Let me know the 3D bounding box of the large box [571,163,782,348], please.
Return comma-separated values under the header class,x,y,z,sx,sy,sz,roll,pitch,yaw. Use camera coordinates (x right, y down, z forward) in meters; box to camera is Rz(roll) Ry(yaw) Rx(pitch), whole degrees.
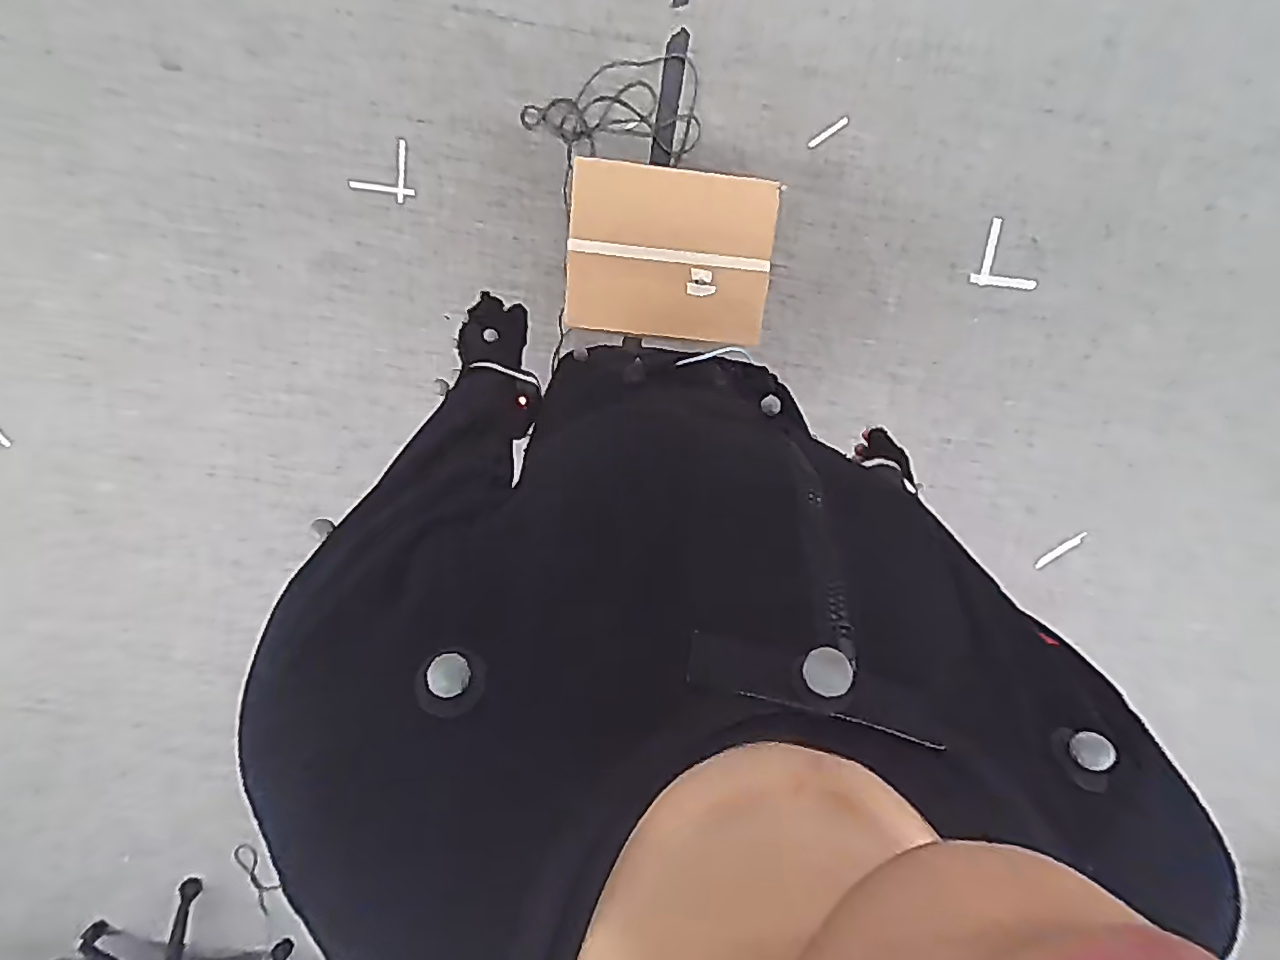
class,x,y,z,sx,sy,sz,roll,pitch,yaw
large box,0.059,-0.478,1.228,0.408,0.320,0.320,6,104,-5
